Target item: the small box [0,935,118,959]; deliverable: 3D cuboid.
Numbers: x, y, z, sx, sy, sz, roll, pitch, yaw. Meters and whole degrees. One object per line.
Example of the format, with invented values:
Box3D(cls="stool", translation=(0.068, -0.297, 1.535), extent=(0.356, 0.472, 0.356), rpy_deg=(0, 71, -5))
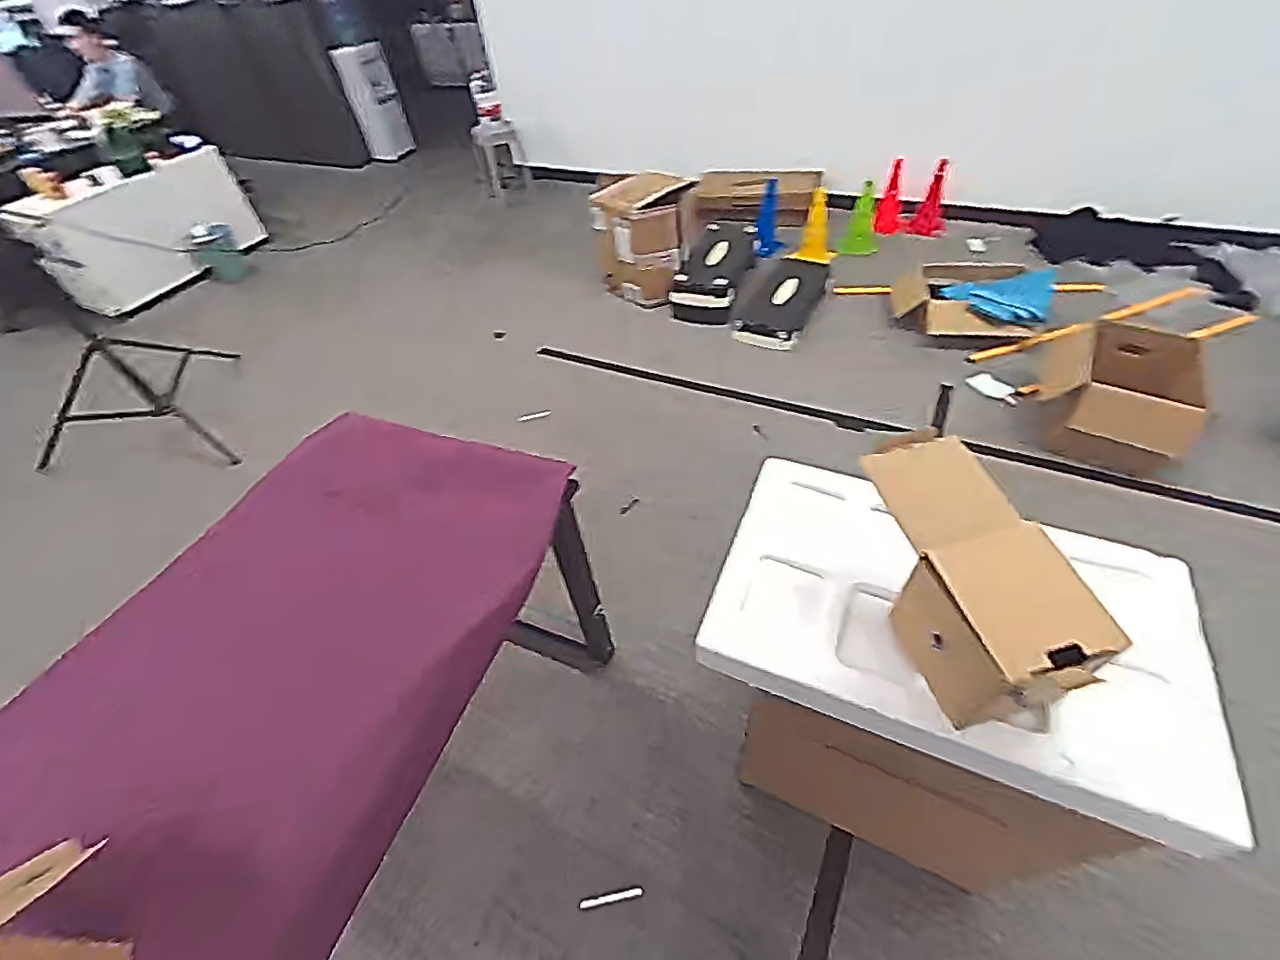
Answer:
Box3D(cls="small box", translation=(-0.609, 0.560, 0.481), extent=(0.168, 0.176, 0.179), rpy_deg=(-28, 50, -17))
